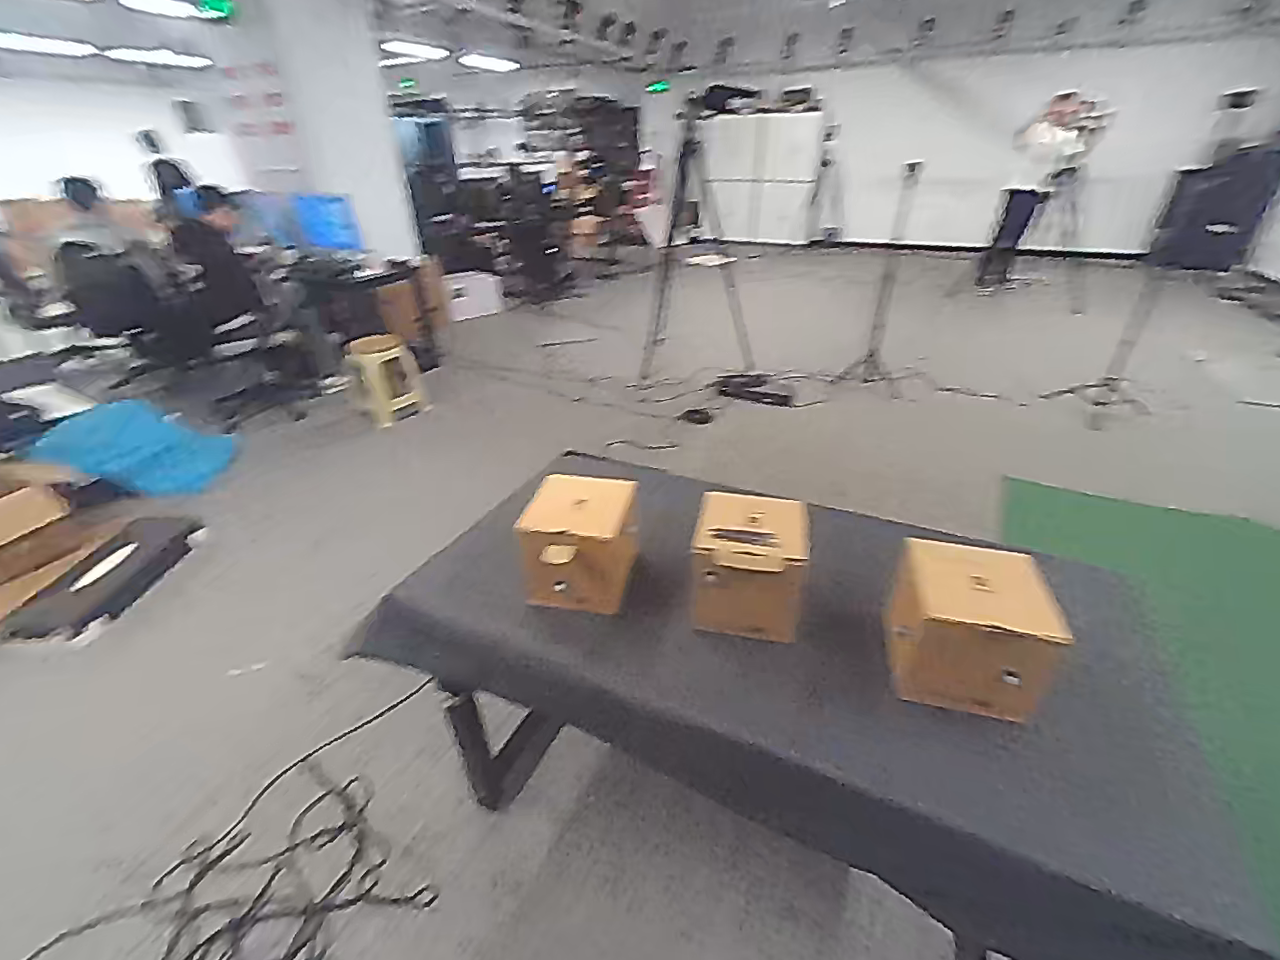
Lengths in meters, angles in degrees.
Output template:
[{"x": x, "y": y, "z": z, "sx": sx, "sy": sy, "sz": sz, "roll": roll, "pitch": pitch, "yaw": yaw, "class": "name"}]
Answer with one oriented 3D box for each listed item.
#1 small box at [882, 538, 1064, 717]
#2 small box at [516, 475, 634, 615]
[{"x": 0.465, "y": 0.212, "z": 0.789, "sx": 0.168, "sy": 0.176, "sz": 0.179, "roll": 8, "pitch": 31, "yaw": 13, "class": "small box"}, {"x": -0.107, "y": 0.113, "z": 0.972, "sx": 0.168, "sy": 0.176, "sz": 0.179, "roll": 5, "pitch": 32, "yaw": 9, "class": "small box"}]
